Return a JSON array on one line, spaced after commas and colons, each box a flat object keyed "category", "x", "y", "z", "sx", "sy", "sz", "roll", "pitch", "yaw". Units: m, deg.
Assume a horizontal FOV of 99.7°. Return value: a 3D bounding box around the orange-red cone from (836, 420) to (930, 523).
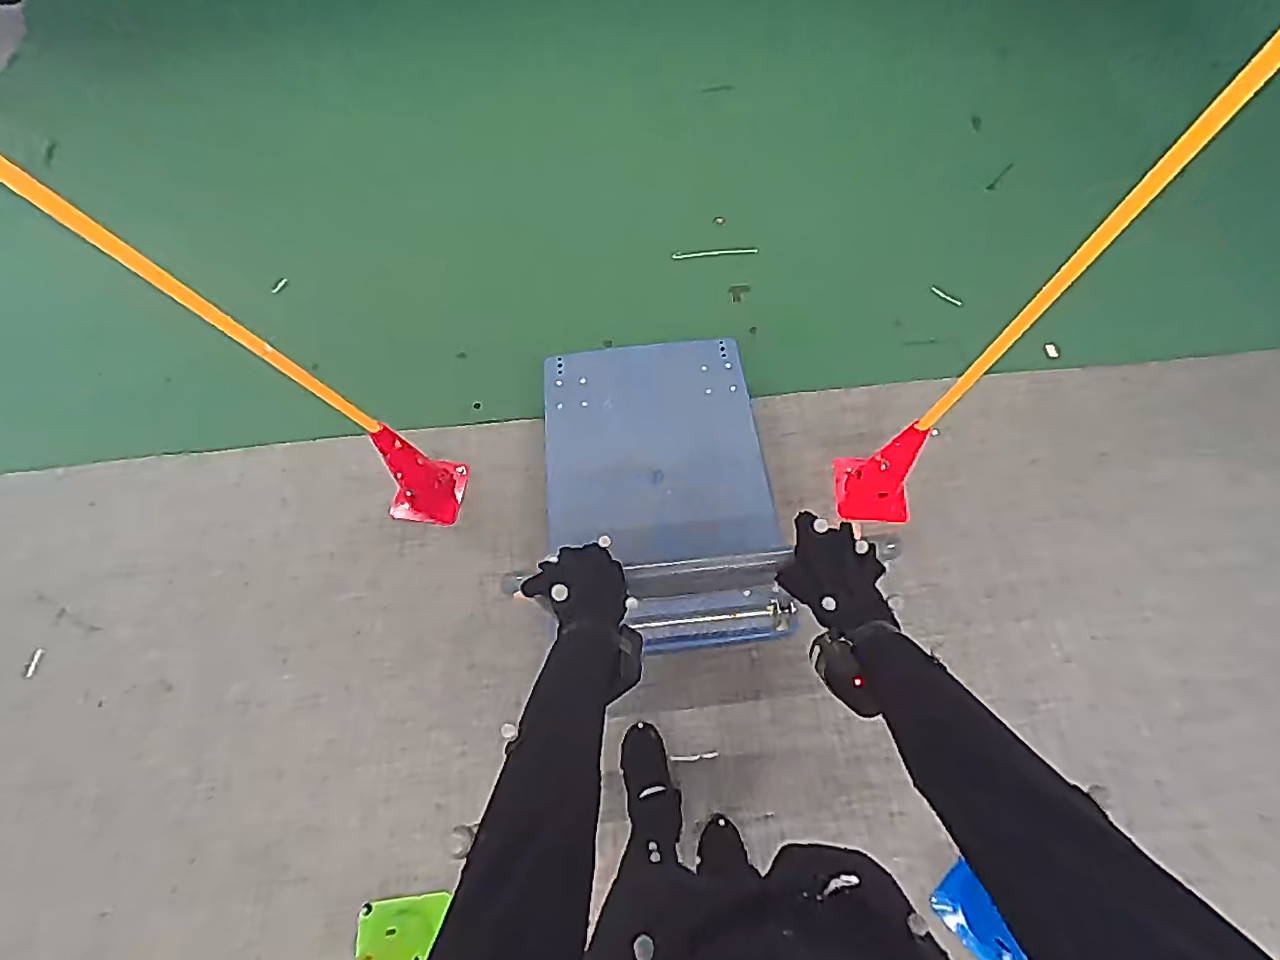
[{"category": "orange-red cone", "x": 0.666, "y": -0.045, "z": 1.417, "sx": 0.198, "sy": 0.360, "sz": 0.199, "roll": 4, "pitch": 65, "yaw": 5}]
